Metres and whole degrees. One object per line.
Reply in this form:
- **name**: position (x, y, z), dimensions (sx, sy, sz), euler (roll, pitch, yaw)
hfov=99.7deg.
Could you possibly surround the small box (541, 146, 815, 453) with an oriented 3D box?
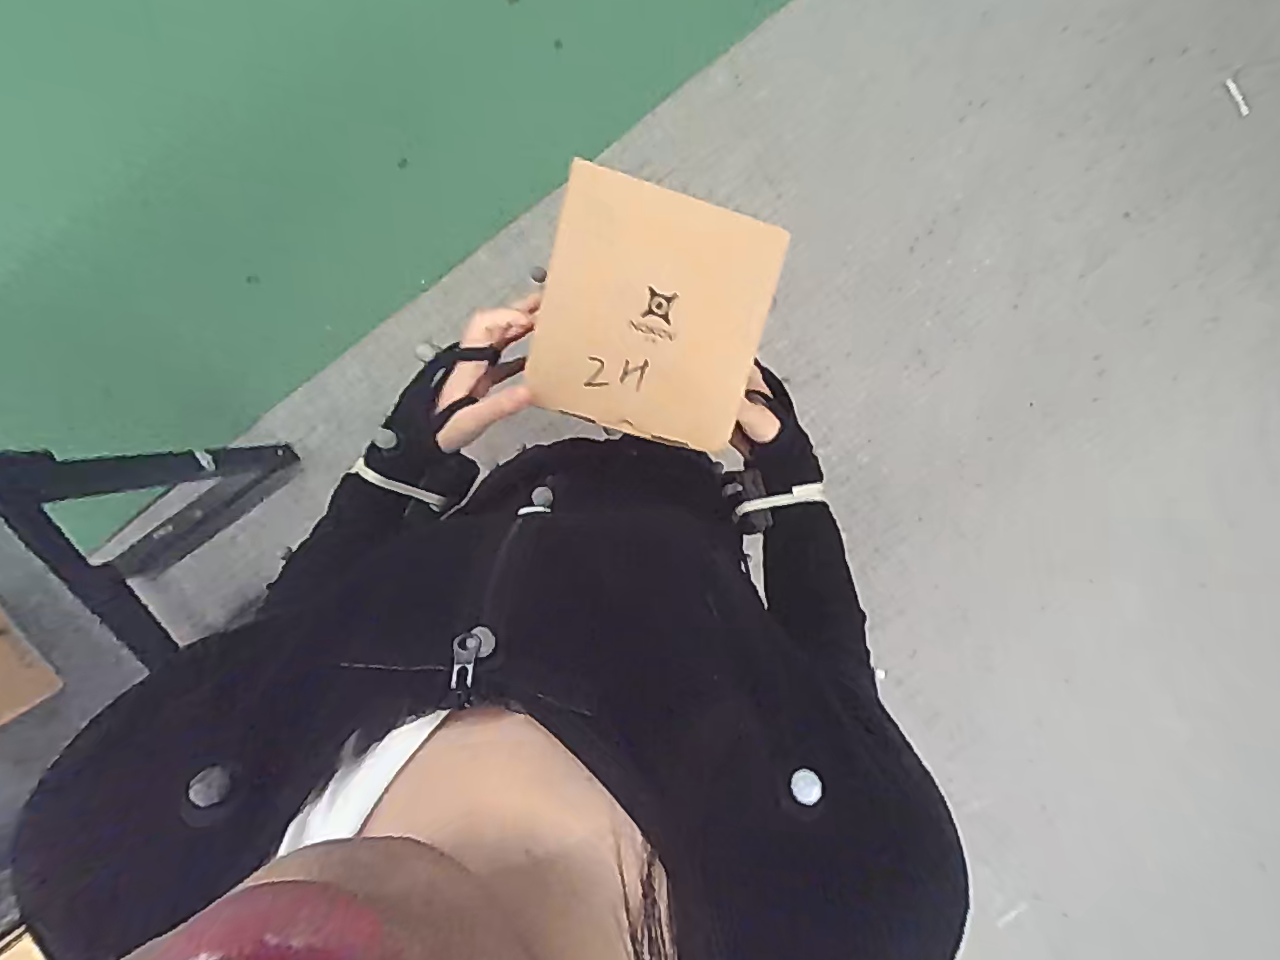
- **small box**: position (0.016, -0.138, 0.467), dimensions (0.168, 0.176, 0.179), euler (15, 99, -11)
